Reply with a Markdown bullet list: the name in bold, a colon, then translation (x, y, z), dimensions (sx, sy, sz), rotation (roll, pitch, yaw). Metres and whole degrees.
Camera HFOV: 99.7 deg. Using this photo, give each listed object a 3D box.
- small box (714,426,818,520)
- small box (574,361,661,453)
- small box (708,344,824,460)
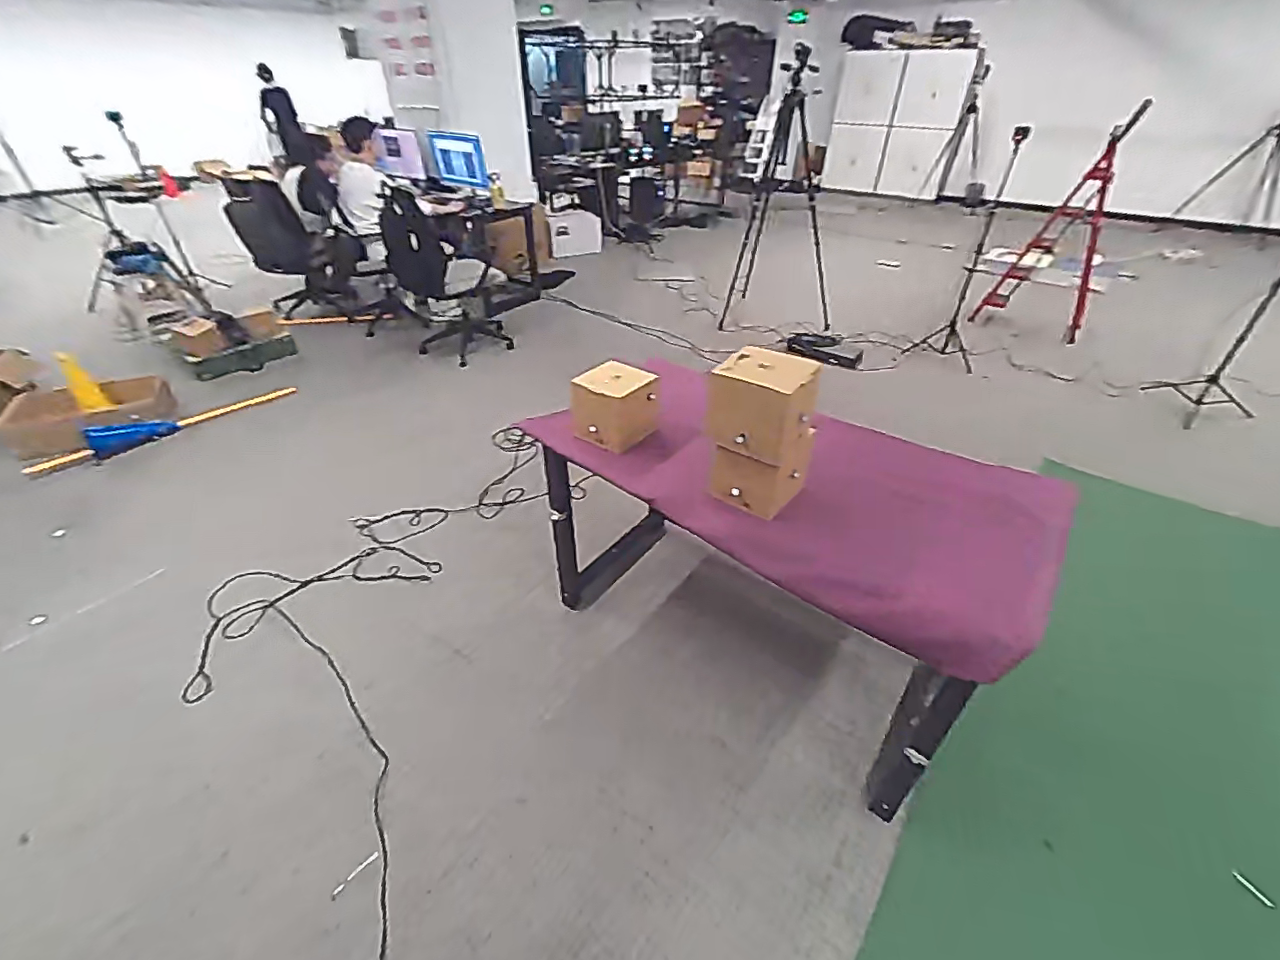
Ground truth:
- **small box**: translation (0.284, -0.040, 1.250), dimensions (0.168, 0.176, 0.179), rotation (26, 44, 31)
- **small box**: translation (-0.061, -0.200, 1.462), dimensions (0.168, 0.176, 0.179), rotation (24, 42, 30)
- **small box**: translation (0.261, -0.162, 1.140), dimensions (0.179, 0.176, 0.168), rotation (24, 43, 29)
